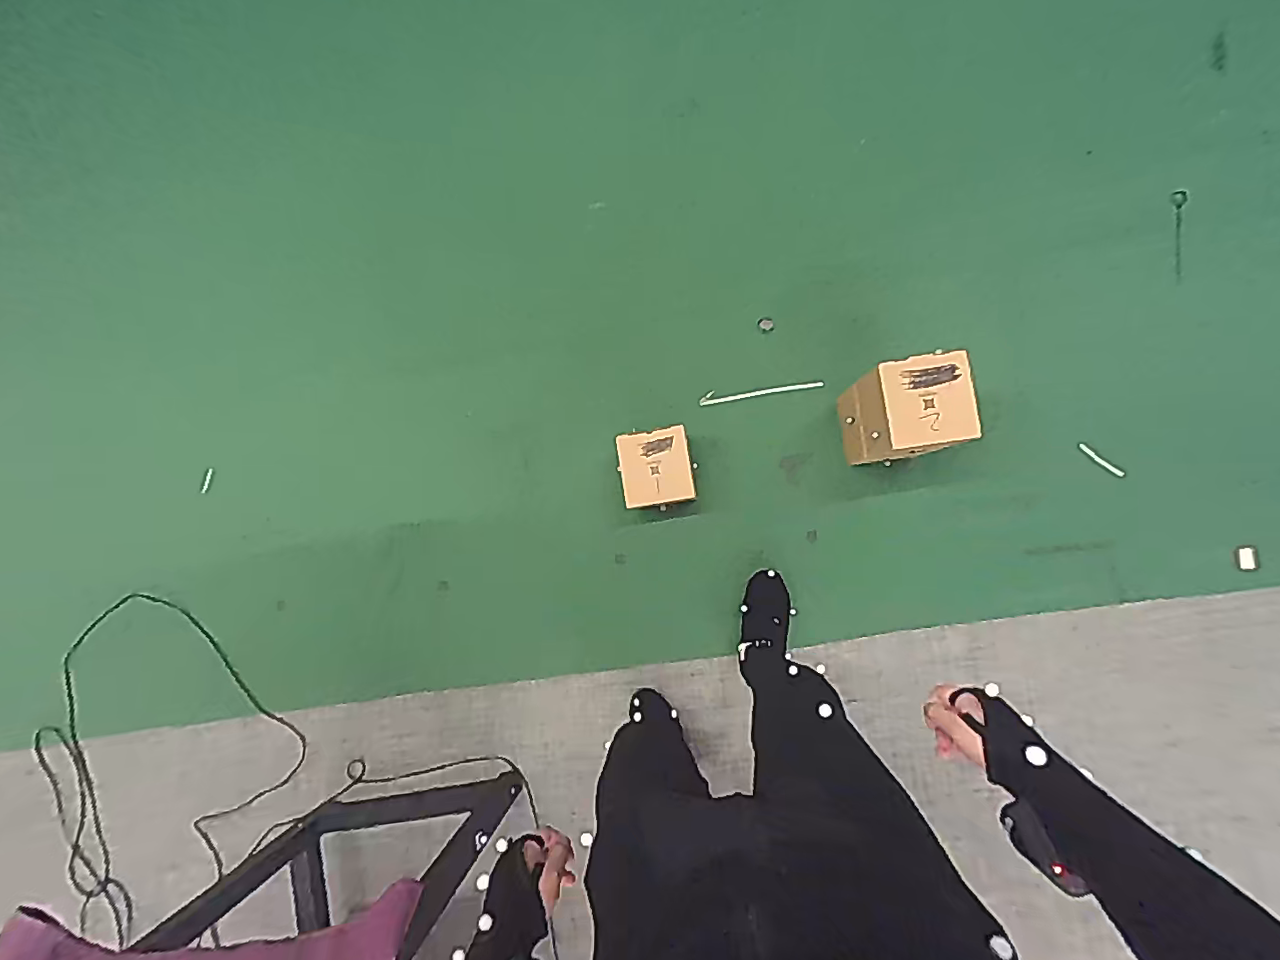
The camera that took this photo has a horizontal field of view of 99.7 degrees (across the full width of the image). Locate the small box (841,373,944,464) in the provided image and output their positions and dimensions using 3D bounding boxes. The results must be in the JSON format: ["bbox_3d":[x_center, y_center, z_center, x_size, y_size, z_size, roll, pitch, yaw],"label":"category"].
[{"bbox_3d":[0.587,-0.139,1.280,0.168,0.176,0.179,-7,86,7],"label":"small box"}]

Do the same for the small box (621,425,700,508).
[{"bbox_3d":[0.054,-0.028,1.344,0.168,0.176,0.179,-9,86,8],"label":"small box"}]
